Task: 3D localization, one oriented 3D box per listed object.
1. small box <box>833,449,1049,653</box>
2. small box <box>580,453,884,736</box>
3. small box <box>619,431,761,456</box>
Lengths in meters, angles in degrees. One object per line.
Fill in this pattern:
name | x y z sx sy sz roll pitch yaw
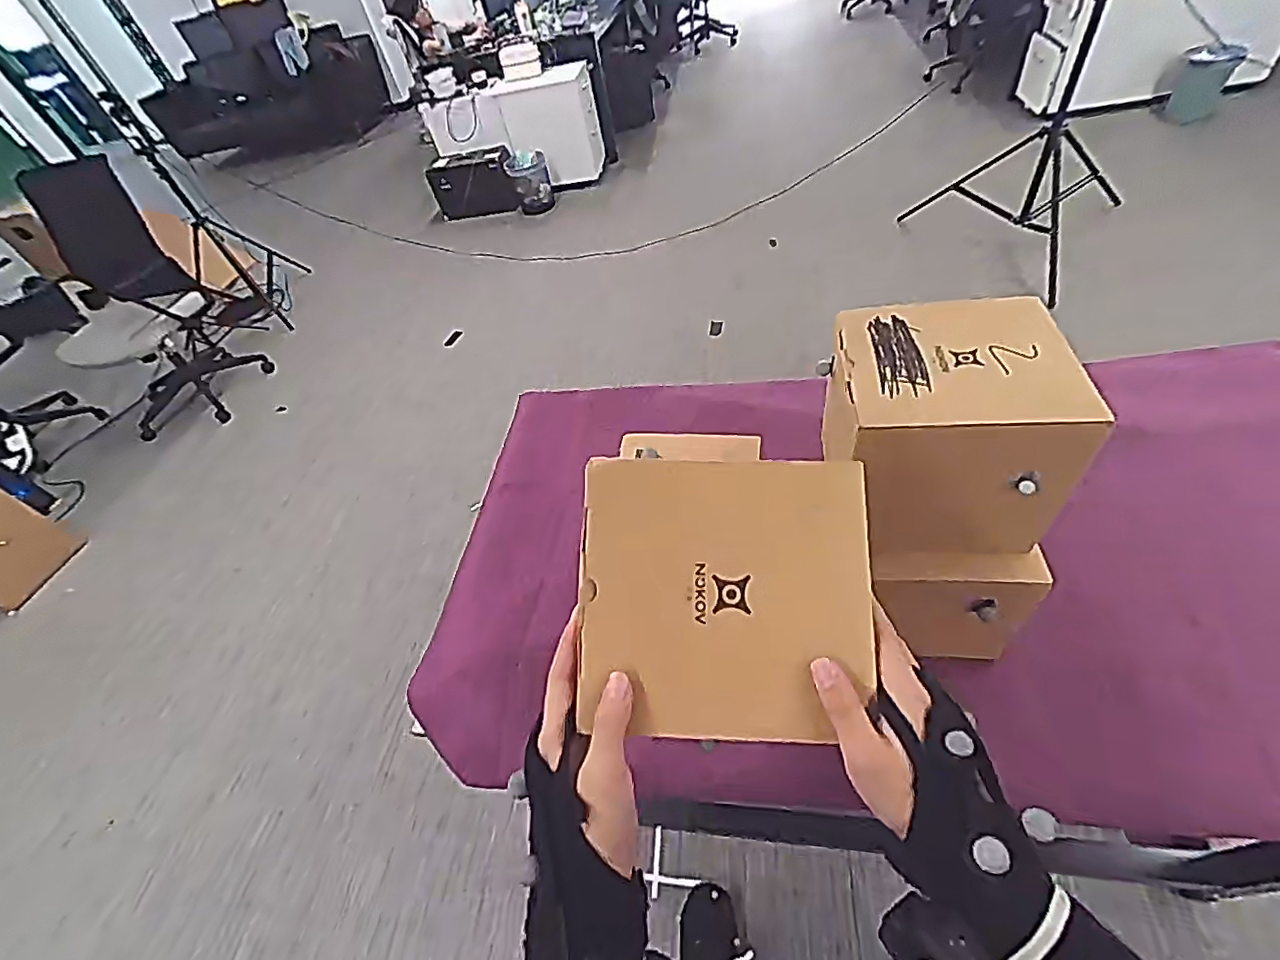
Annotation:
small box | 0.306 0.082 0.609 0.179 0.176 0.168 -1 48 12
small box | 0.057 0.080 0.402 0.179 0.176 0.168 0 78 3
small box | 0.060 0.055 0.688 0.179 0.176 0.168 3 50 14
